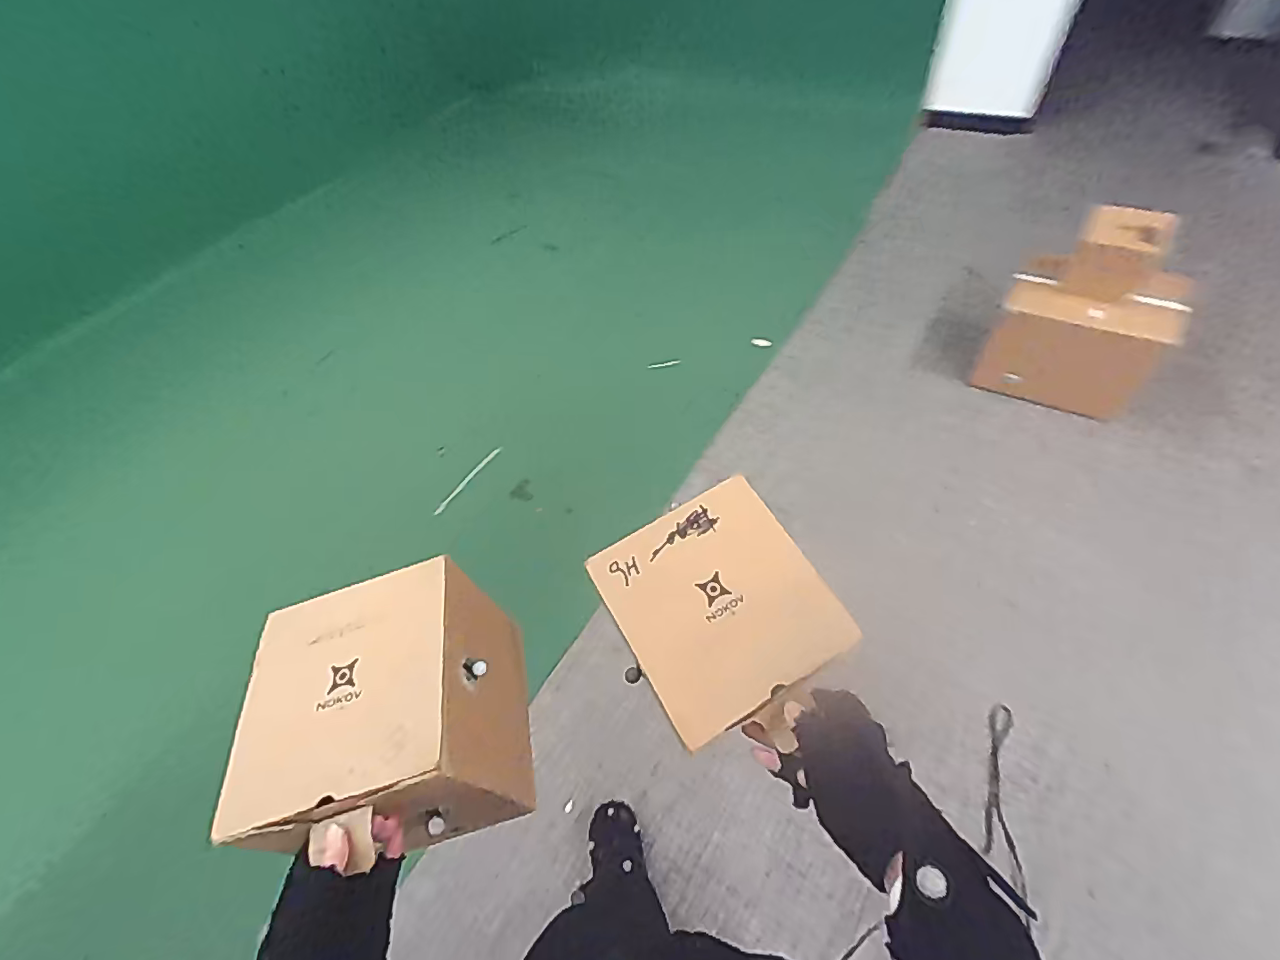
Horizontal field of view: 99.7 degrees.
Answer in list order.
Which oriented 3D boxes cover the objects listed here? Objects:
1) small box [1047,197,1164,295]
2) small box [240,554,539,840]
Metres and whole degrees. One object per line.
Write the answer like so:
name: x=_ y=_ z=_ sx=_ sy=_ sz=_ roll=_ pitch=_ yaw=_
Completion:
small box: x=1.259 y=-0.632 z=1.471 sx=0.179 sy=0.176 sz=0.168 roll=22 pitch=68 yaw=23
small box: x=-0.199 y=0.202 z=0.486 sx=0.168 sy=0.176 sz=0.179 roll=-18 pitch=48 yaw=2
